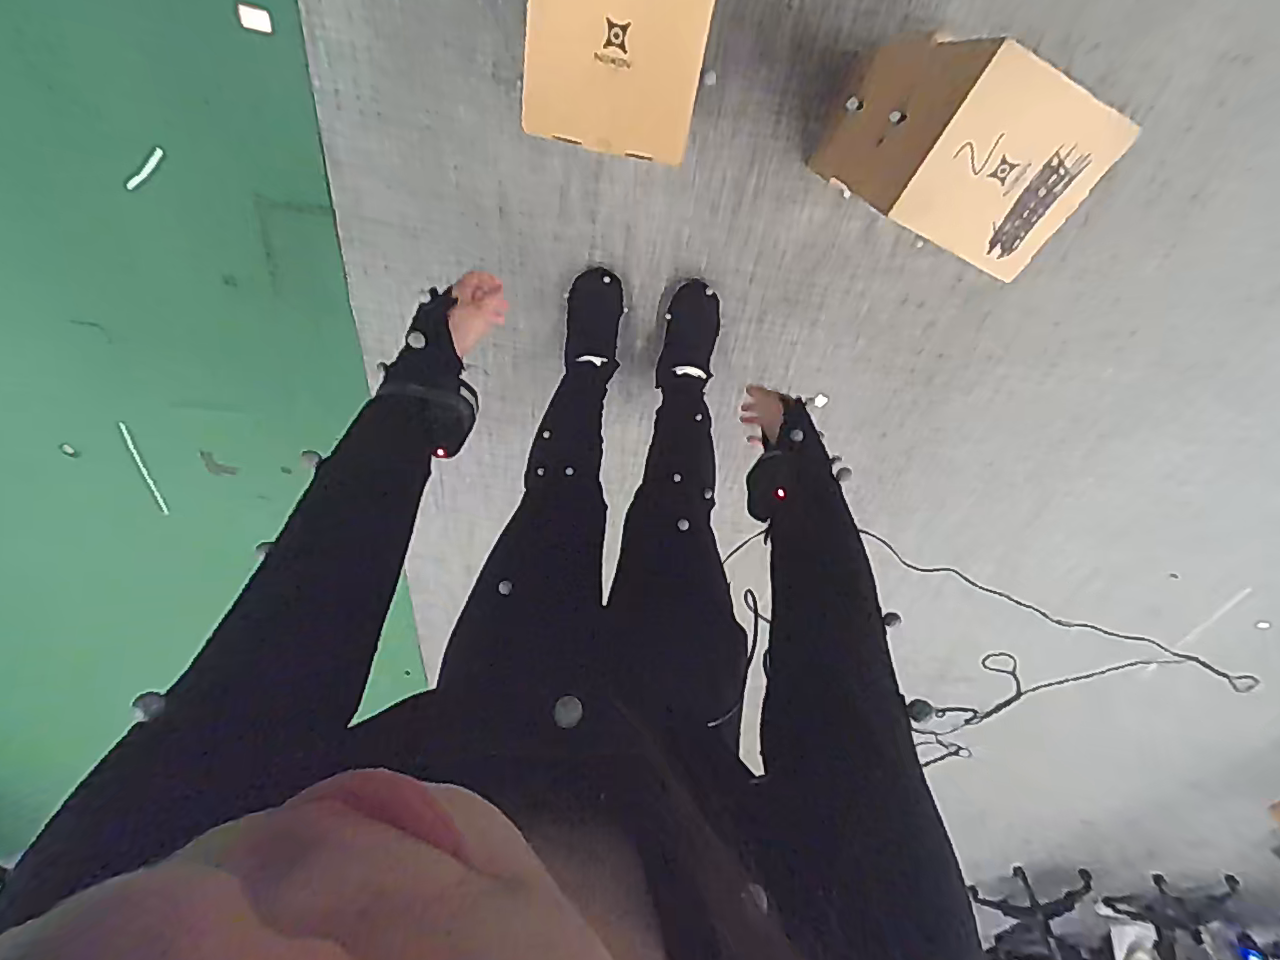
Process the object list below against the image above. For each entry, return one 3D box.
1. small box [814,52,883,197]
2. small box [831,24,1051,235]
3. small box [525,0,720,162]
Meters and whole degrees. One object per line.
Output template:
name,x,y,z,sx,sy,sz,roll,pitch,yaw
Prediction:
small box,0.402,-0.555,0.865,0.168,0.176,0.179,16,127,-9
small box,0.381,-0.468,0.727,0.168,0.176,0.179,19,127,-12
small box,-0.016,-0.450,0.551,0.168,0.176,0.179,10,127,-5
